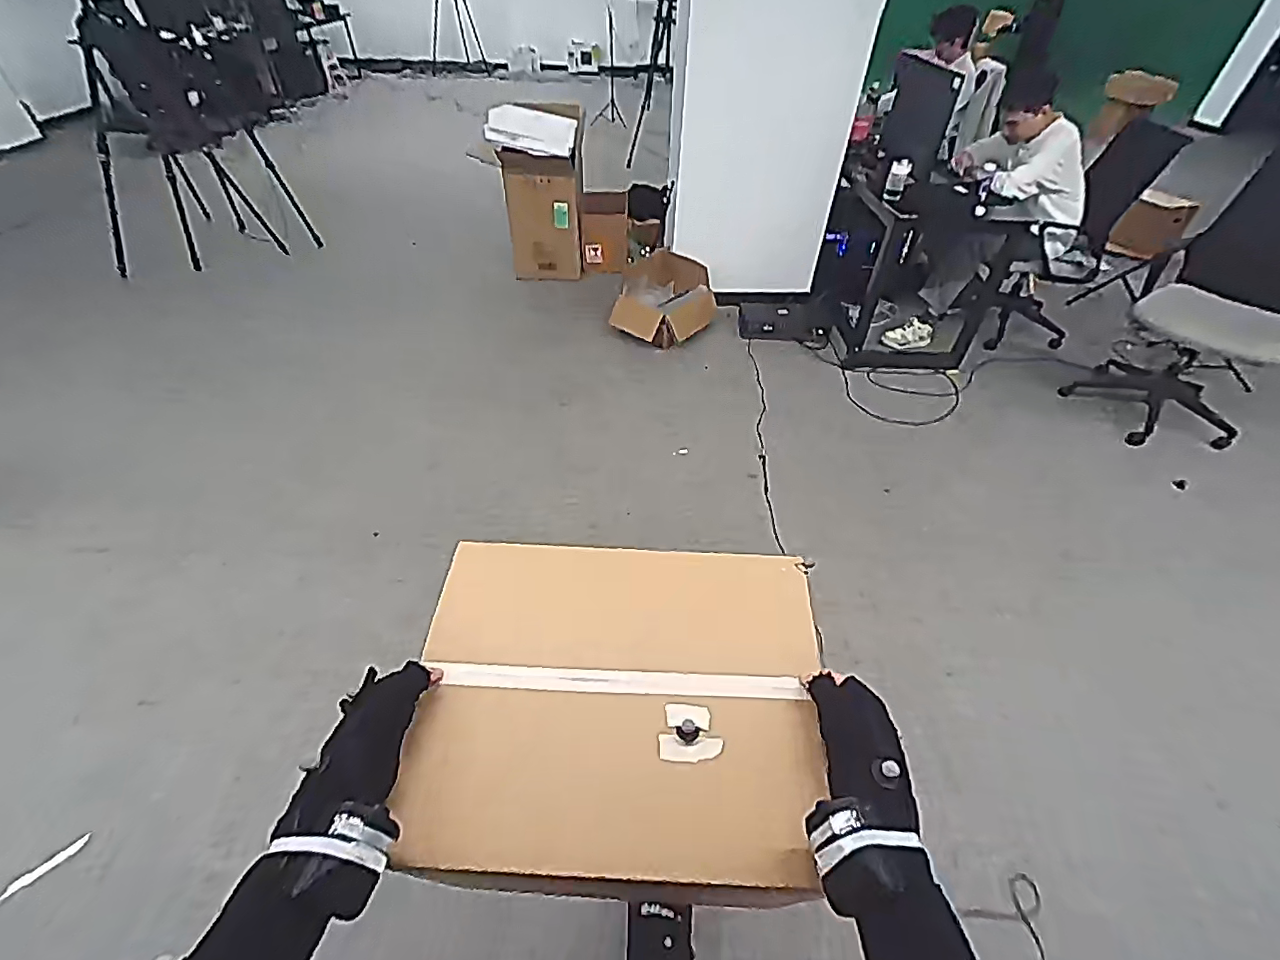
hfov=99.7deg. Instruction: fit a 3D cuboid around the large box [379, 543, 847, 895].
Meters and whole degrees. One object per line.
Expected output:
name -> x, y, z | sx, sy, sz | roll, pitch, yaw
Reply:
large box -> -0.022, 0.296, 0.660 | 0.408, 0.320, 0.320 | 3, 50, 1
